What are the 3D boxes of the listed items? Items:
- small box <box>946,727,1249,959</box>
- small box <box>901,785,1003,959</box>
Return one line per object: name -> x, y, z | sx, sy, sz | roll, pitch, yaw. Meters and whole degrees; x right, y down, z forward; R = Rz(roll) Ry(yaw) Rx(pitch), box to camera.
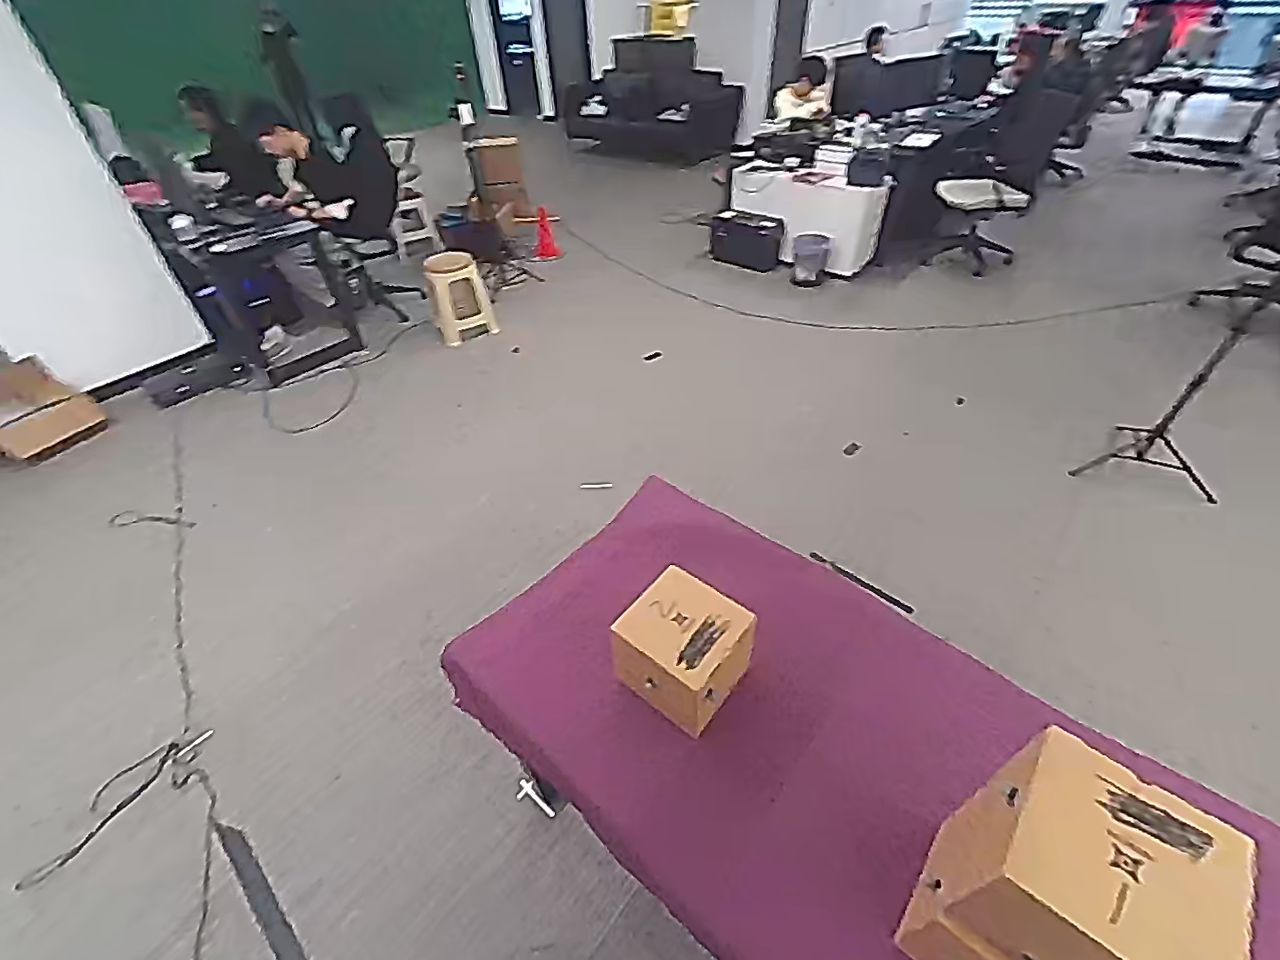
small box -> 0.441, 0.398, 0.543 | 0.168, 0.176, 0.179 | 30, 52, 31
small box -> 0.440, 0.523, 0.651 | 0.168, 0.176, 0.179 | 30, 52, 30
